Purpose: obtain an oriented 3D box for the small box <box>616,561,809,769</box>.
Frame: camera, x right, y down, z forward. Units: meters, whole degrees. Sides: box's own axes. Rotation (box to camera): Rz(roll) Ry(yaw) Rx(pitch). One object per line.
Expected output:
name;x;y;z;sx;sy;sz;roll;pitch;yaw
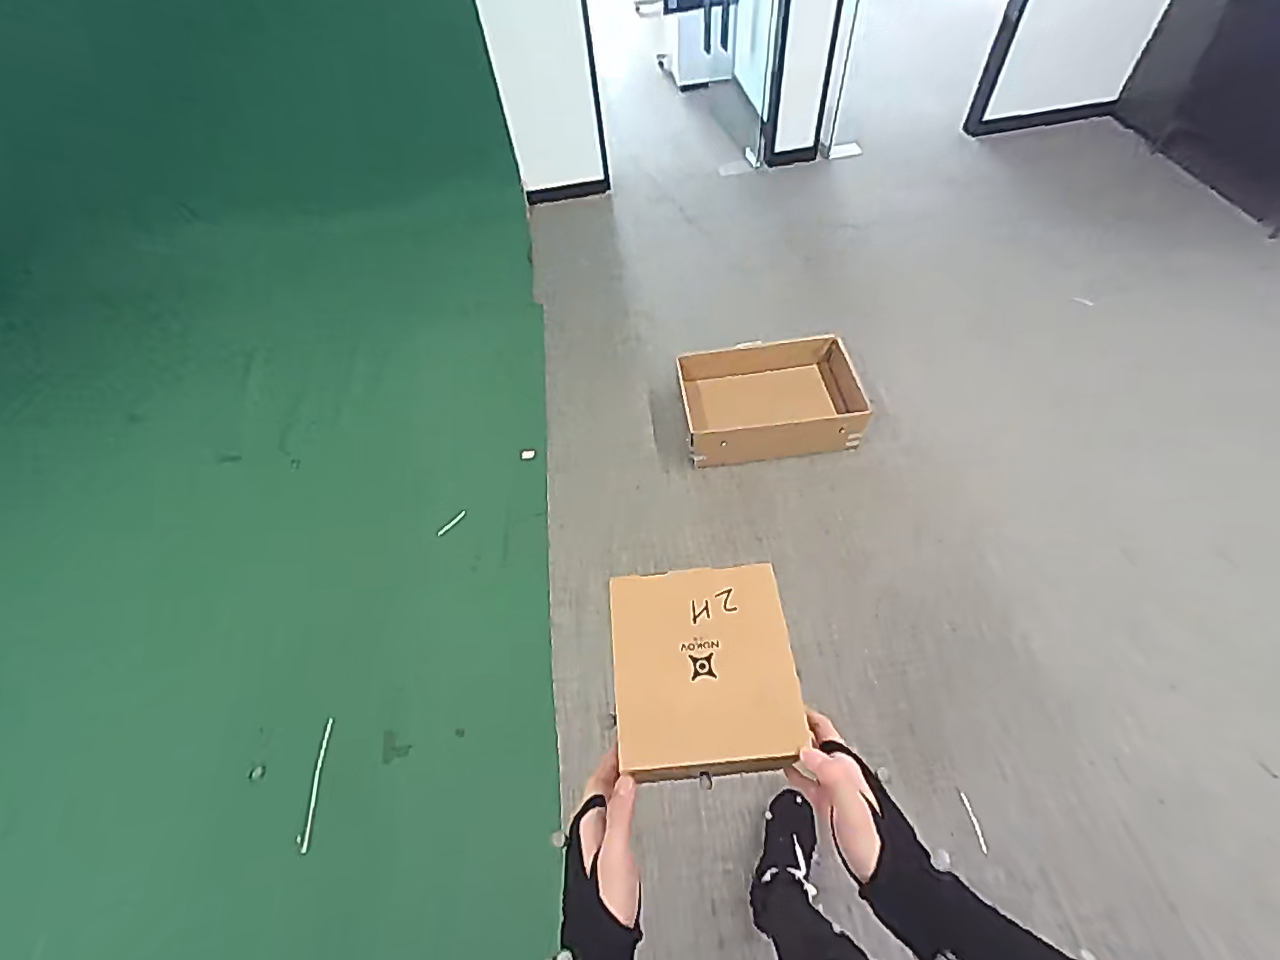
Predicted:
small box;0.064;0.204;0.575;0.168;0.176;0.179;-4;57;-1
